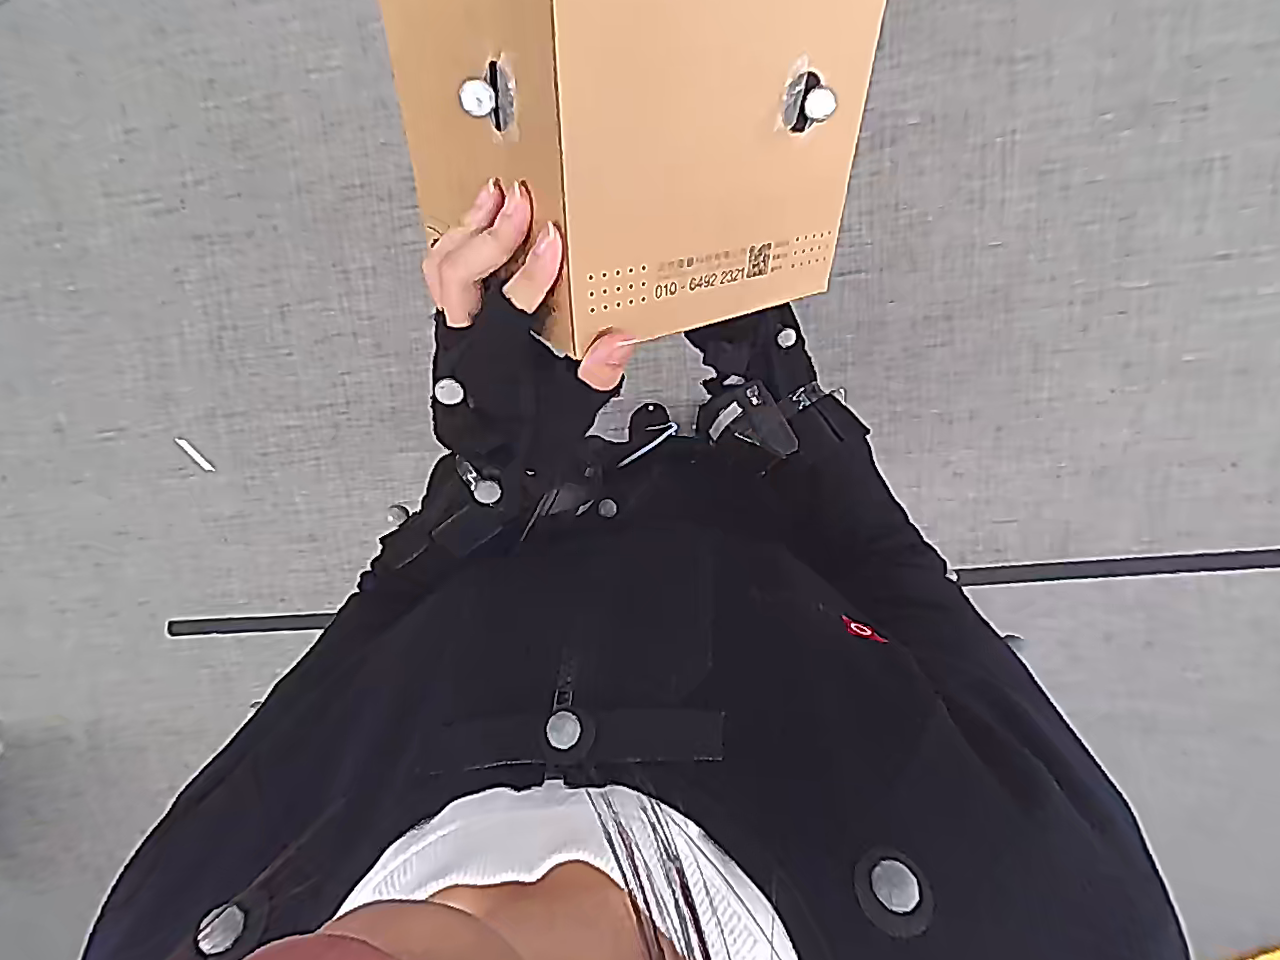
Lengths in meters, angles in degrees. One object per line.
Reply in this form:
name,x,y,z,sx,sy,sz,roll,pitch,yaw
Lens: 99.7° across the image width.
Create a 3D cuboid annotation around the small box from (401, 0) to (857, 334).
small box,-0.008,-0.189,0.292,0.168,0.179,0.176,-22,132,-29
